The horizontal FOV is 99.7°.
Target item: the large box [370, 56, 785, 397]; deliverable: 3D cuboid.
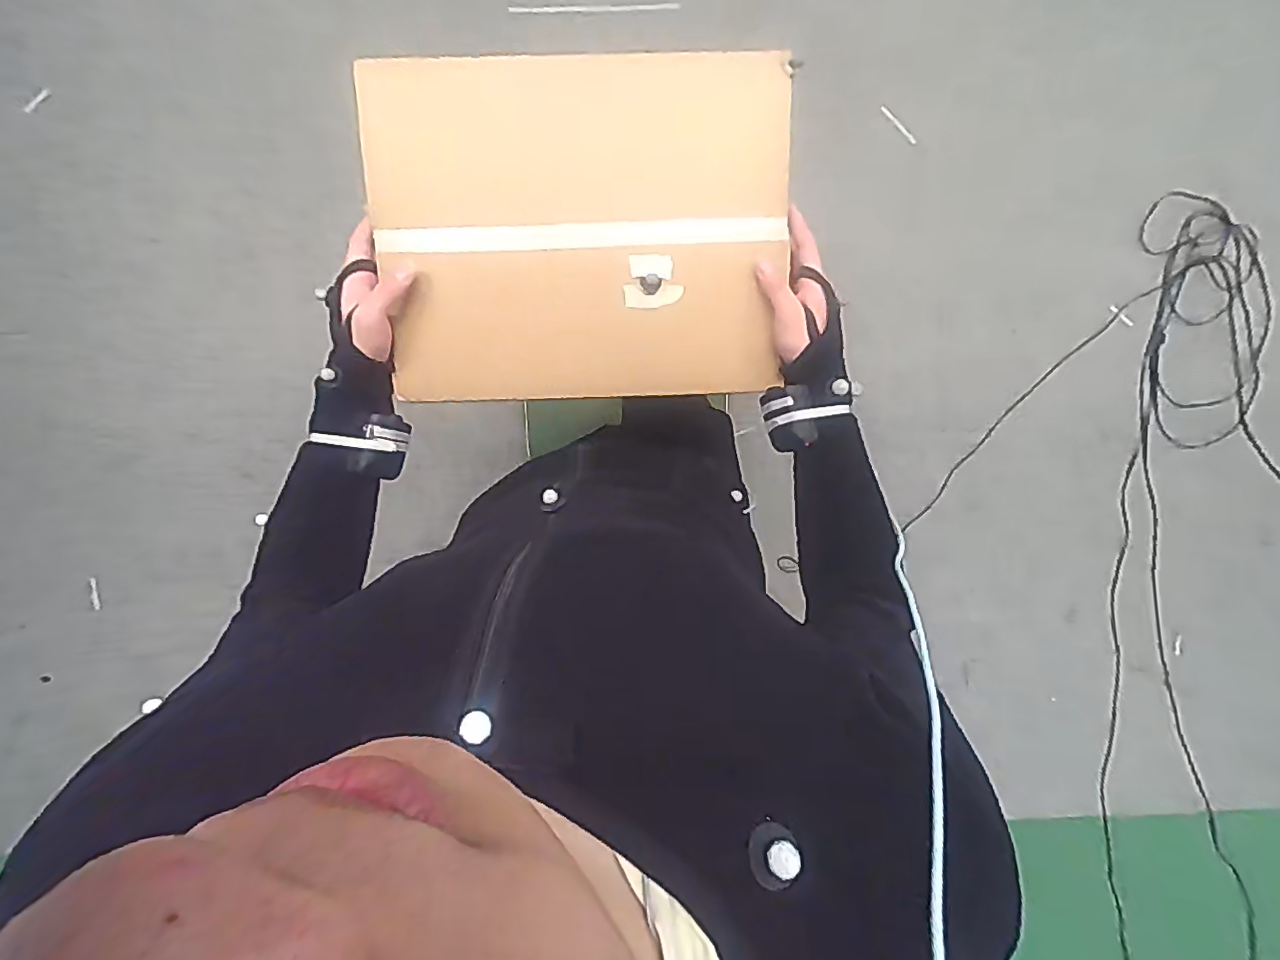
[{"bbox_3d":[-0.059,-0.275,0.687,0.408,0.320,0.320,-2,102,-2],"label":"large box"}]
